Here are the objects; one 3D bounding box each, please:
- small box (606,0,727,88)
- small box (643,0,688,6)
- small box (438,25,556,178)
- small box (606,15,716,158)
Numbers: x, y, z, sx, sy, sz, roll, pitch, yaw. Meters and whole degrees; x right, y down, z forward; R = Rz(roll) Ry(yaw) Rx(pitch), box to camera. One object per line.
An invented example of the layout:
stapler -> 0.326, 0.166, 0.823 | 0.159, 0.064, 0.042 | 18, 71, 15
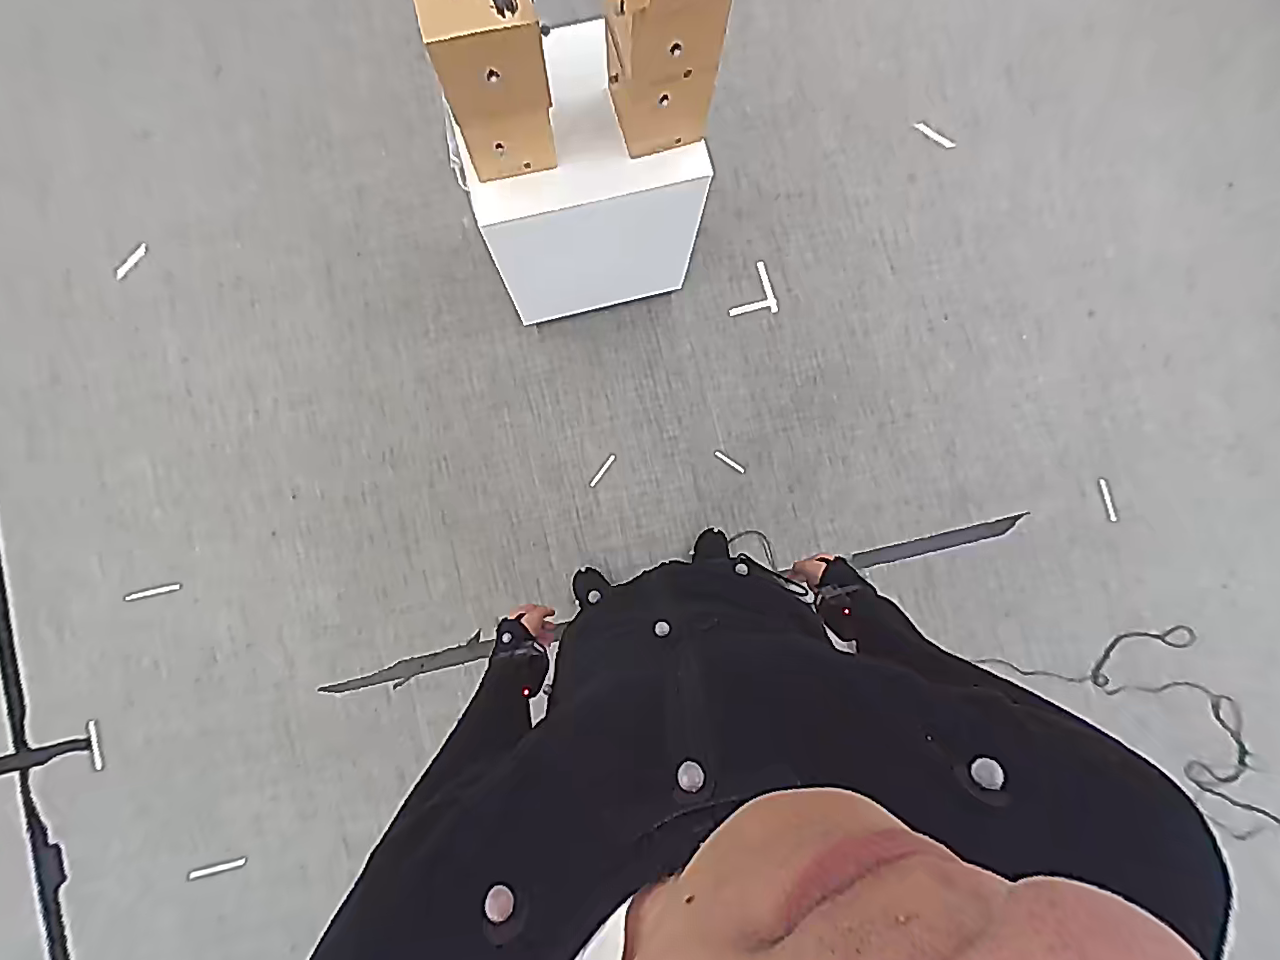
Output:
small box -> 0.040, -0.795, 0.897 | 0.168, 0.176, 0.179 | -16, 86, -3
small box -> 0.062, -0.801, 0.735 | 0.168, 0.176, 0.179 | -21, 86, -4
small box -> -0.267, -0.716, 1.047 | 0.168, 0.176, 0.179 | -14, 85, -4
small box -> 0.035, -0.781, 1.062 | 0.168, 0.176, 0.179 | -17, 86, -2
